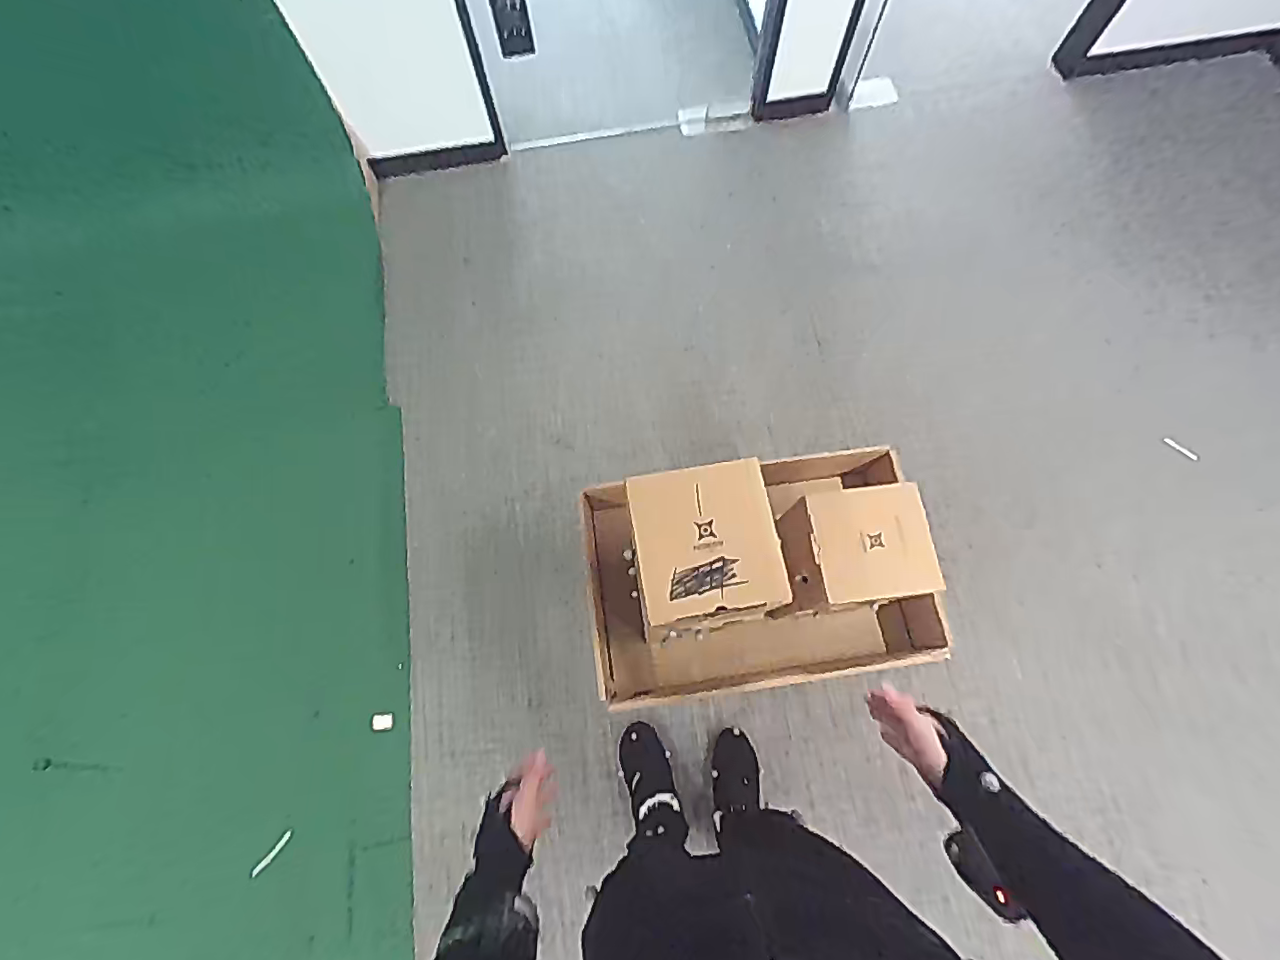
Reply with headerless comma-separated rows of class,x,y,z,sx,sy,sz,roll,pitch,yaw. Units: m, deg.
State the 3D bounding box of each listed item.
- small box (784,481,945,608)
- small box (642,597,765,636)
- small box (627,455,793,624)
small box,0.340,0.109,0.863,0.179,0.176,0.168,-6,74,-2
small box,0.083,0.143,0.850,0.168,0.176,0.179,-8,72,-2
small box,0.078,0.086,0.695,0.168,0.176,0.179,-9,71,-3
